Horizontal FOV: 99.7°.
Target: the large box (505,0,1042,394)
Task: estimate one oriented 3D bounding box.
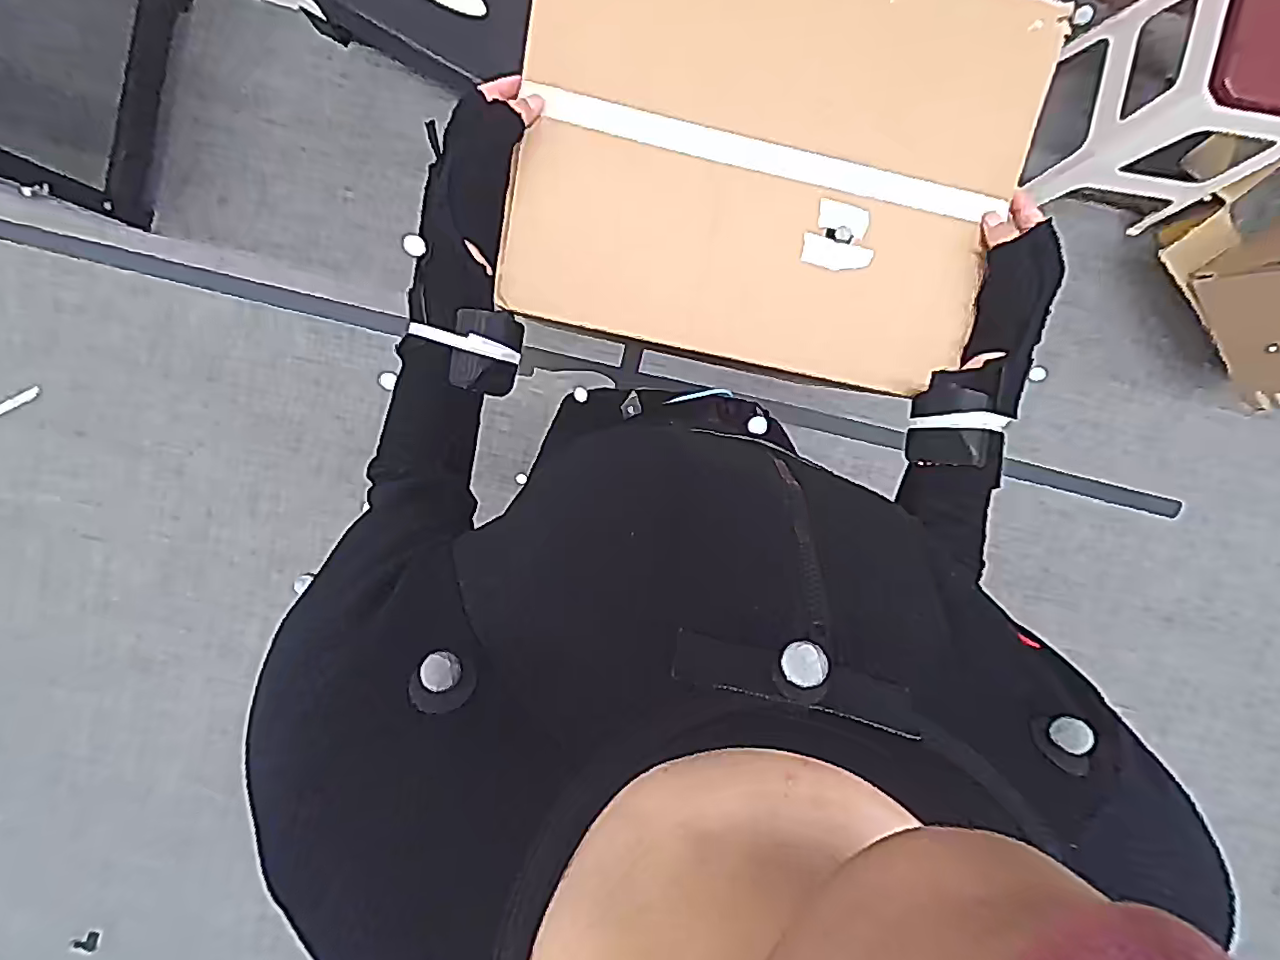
[{"bbox_3d":[0.093,-0.291,0.590,0.408,0.320,0.320,11,103,-7],"label":"large box"}]
